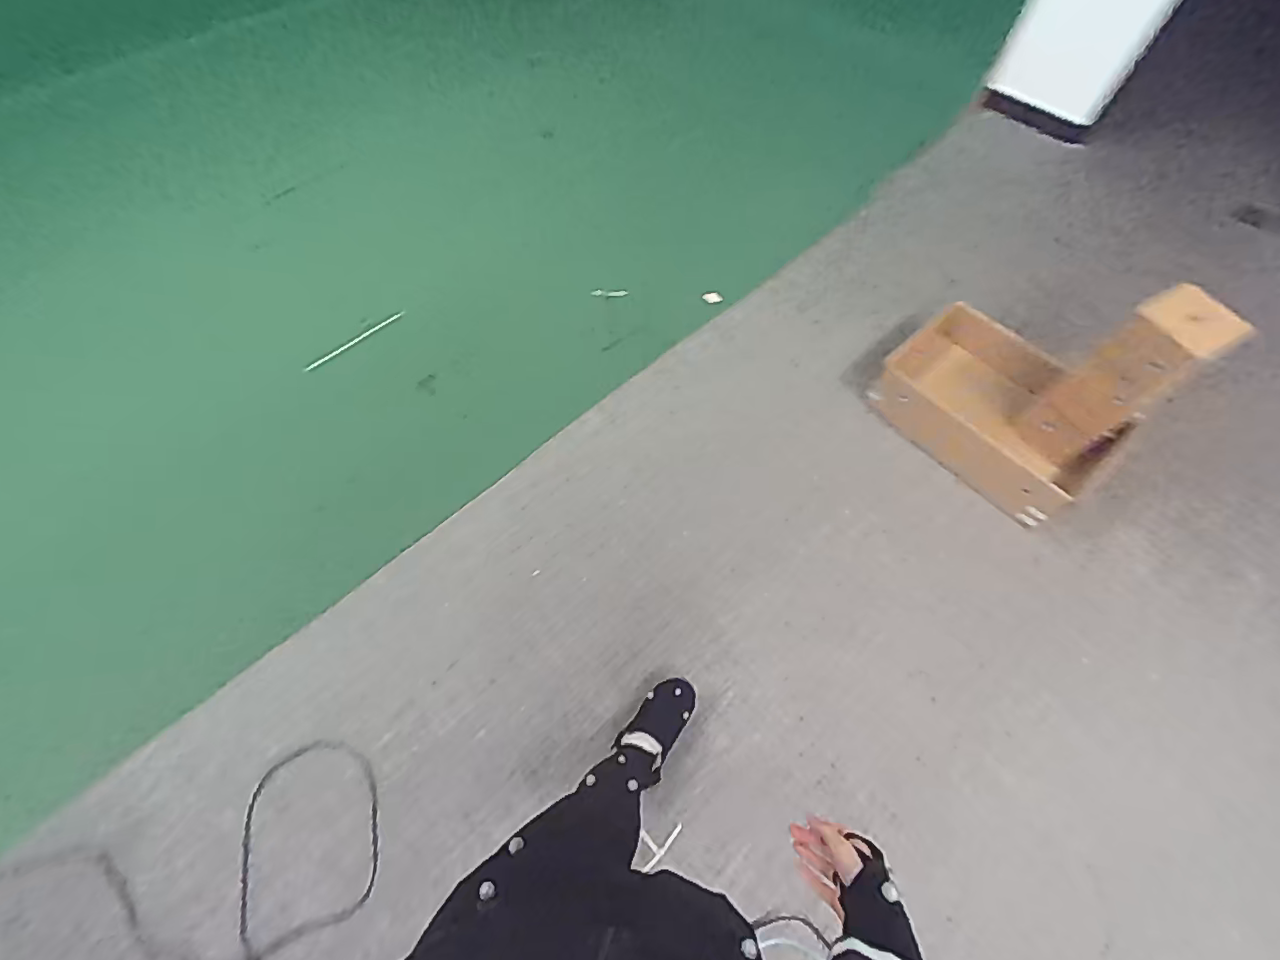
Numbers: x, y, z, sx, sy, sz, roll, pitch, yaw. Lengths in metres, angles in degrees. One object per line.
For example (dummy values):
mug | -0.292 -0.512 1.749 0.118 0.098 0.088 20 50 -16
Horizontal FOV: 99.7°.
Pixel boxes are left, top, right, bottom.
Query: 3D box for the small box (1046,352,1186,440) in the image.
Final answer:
small box | 1.226 -0.236 1.410 0.168 0.176 0.179 -28 66 -12

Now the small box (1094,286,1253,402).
small box | 1.227 -0.311 1.265 0.179 0.176 0.168 -26 66 -12
